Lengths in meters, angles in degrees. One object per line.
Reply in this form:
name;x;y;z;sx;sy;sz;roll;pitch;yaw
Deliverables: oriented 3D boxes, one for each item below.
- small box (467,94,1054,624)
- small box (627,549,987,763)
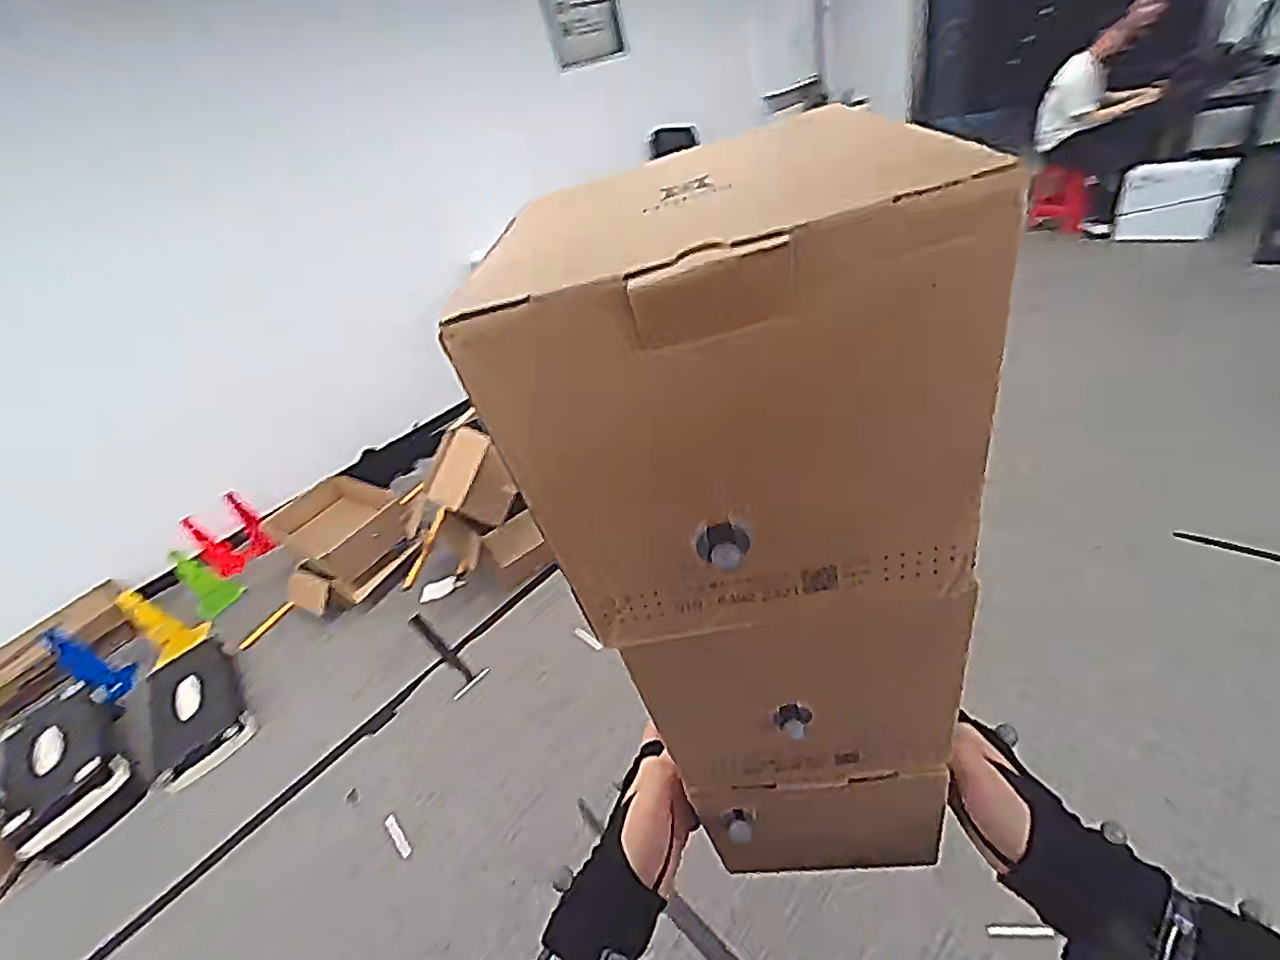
small box;0.048;-0.059;0.261;0.168;0.176;0.179;-12;37;11
small box;0.096;0.065;0.356;0.168;0.176;0.179;-11;36;11
